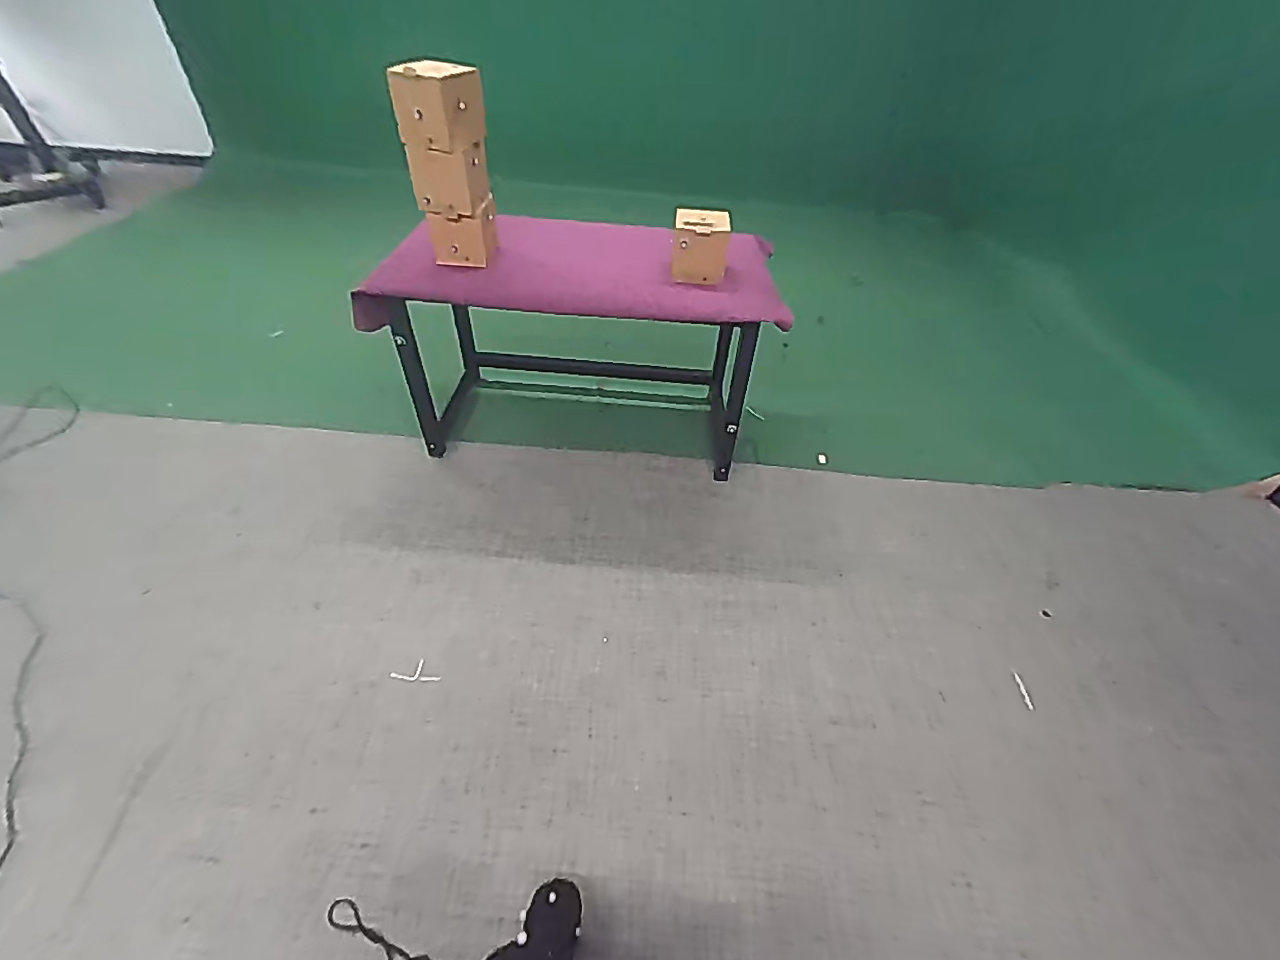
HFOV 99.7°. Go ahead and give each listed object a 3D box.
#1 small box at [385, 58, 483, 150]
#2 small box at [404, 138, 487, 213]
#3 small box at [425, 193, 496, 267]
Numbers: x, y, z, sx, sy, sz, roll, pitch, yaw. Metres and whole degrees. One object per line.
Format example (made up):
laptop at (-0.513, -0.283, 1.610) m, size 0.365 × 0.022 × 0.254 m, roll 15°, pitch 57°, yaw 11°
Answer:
small box at (-0.550, -1.021, 1.472) m, size 0.168 × 0.176 × 0.179 m, roll 20°, pitch 49°, yaw 13°
small box at (-0.560, -0.905, 1.587) m, size 0.168 × 0.176 × 0.179 m, roll 7°, pitch 45°, yaw 2°
small box at (-0.560, -0.800, 1.715) m, size 0.168 × 0.176 × 0.179 m, roll 4°, pitch 46°, yaw -1°
